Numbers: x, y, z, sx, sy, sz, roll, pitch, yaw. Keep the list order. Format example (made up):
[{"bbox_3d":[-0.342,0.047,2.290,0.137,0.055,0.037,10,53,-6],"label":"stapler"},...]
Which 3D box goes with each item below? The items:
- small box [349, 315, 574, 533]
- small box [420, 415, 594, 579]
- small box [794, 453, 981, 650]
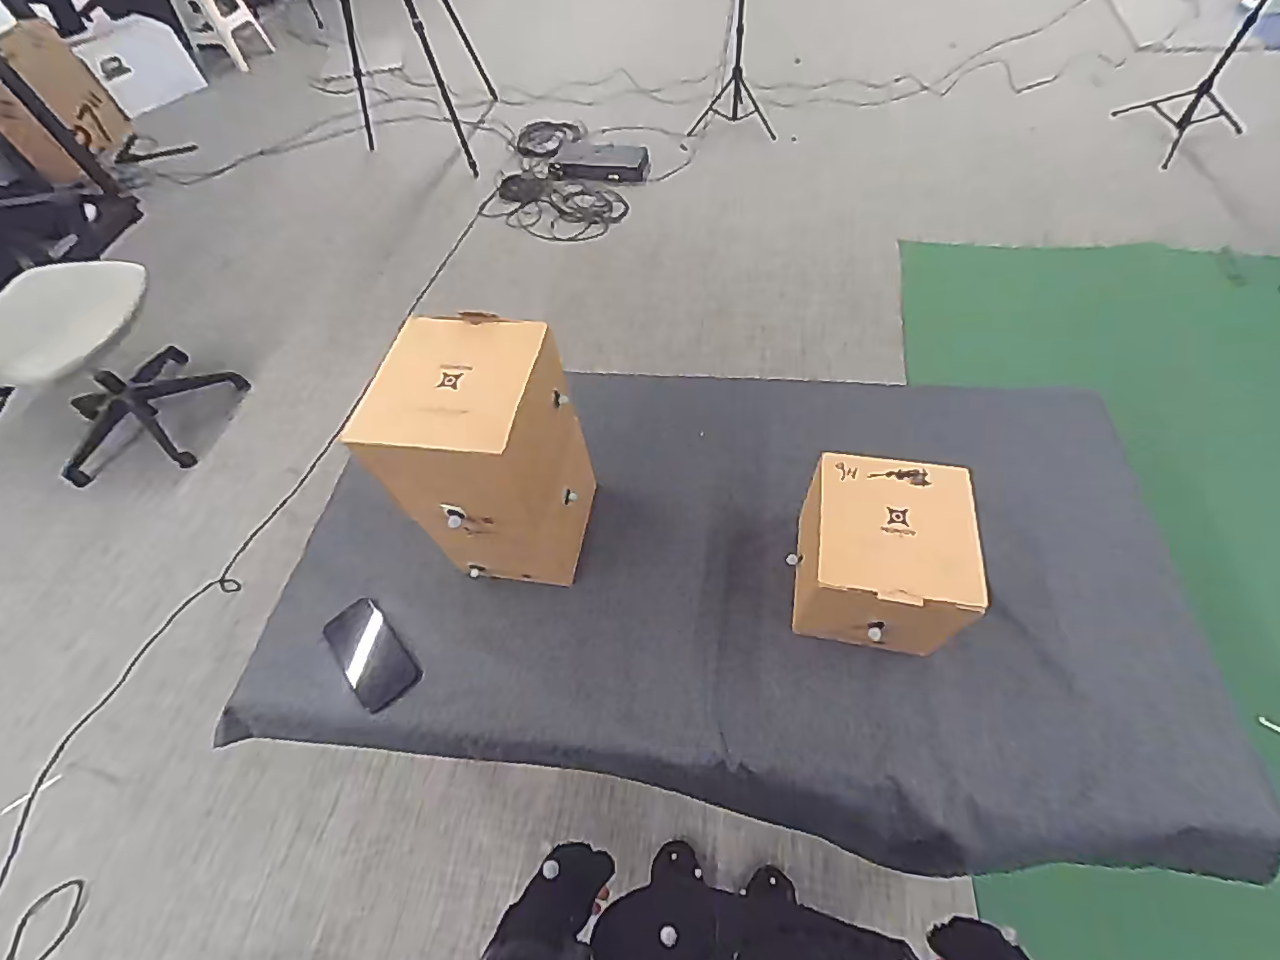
[{"bbox_3d":[-0.179,-0.061,0.612,0.168,0.176,0.179,5,59,9],"label":"small box"},{"bbox_3d":[-0.167,0.022,0.750,0.168,0.176,0.179,6,57,9],"label":"small box"},{"bbox_3d":[0.287,0.092,0.662,0.168,0.176,0.179,7,58,11],"label":"small box"}]
